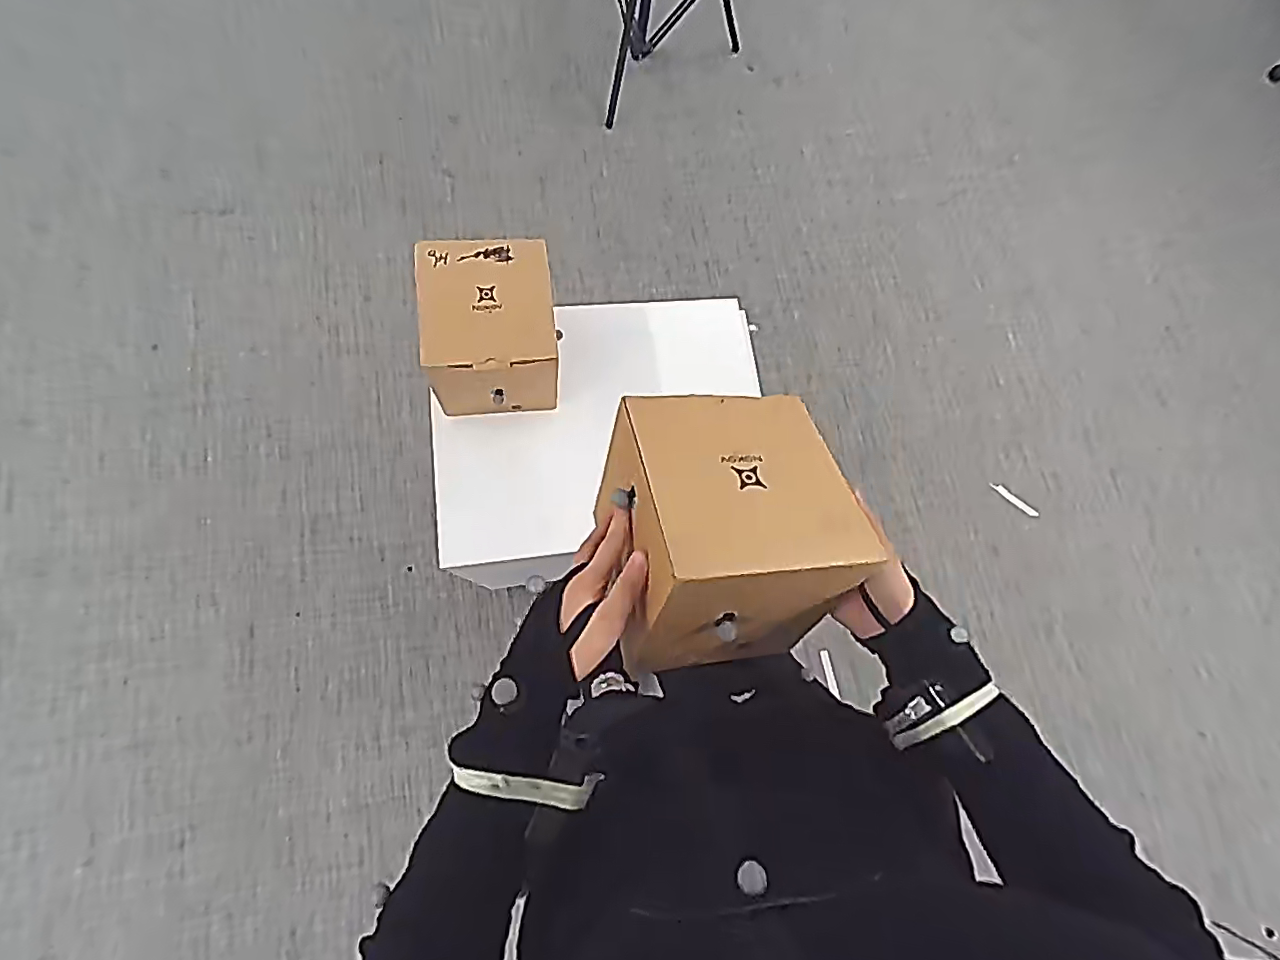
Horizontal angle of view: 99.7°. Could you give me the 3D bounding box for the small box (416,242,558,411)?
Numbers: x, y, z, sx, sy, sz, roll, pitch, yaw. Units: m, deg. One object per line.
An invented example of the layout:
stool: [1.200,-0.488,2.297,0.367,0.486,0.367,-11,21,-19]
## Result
small box: [-0.204,-0.202,0.754,0.168,0.176,0.179,-6,79,-11]

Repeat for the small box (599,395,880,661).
small box: [0.065,0.045,0.477,0.168,0.176,0.179,-3,51,-17]
